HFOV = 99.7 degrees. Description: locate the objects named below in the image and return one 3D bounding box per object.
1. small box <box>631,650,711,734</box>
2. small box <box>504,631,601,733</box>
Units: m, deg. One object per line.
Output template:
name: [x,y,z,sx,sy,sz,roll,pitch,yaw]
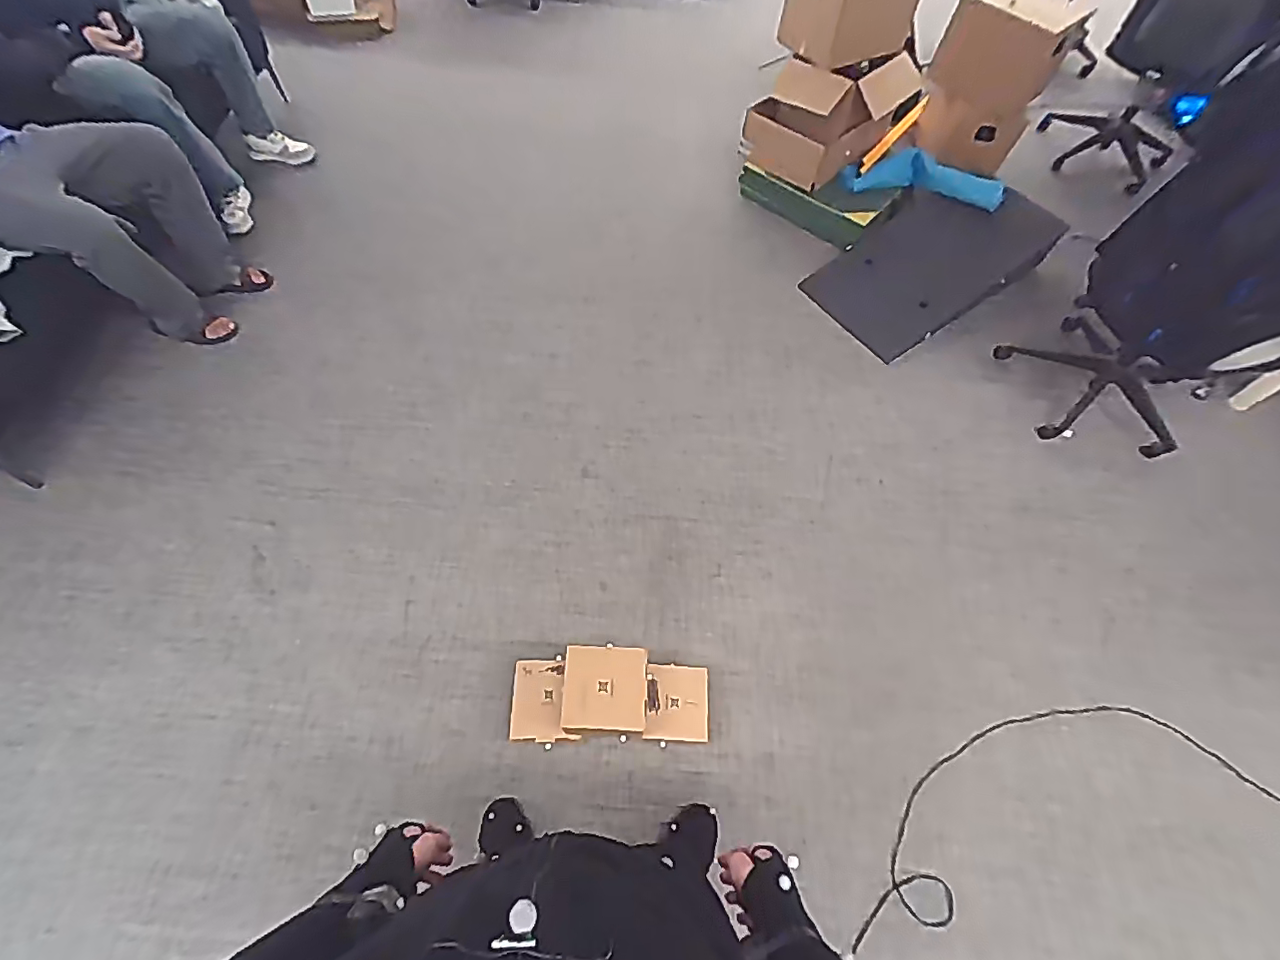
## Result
small box: [0.074,0.536,1.353,0.179,0.176,0.168,7,64,2]
small box: [-0.212,0.510,1.350,0.179,0.176,0.168,-26,64,-14]
